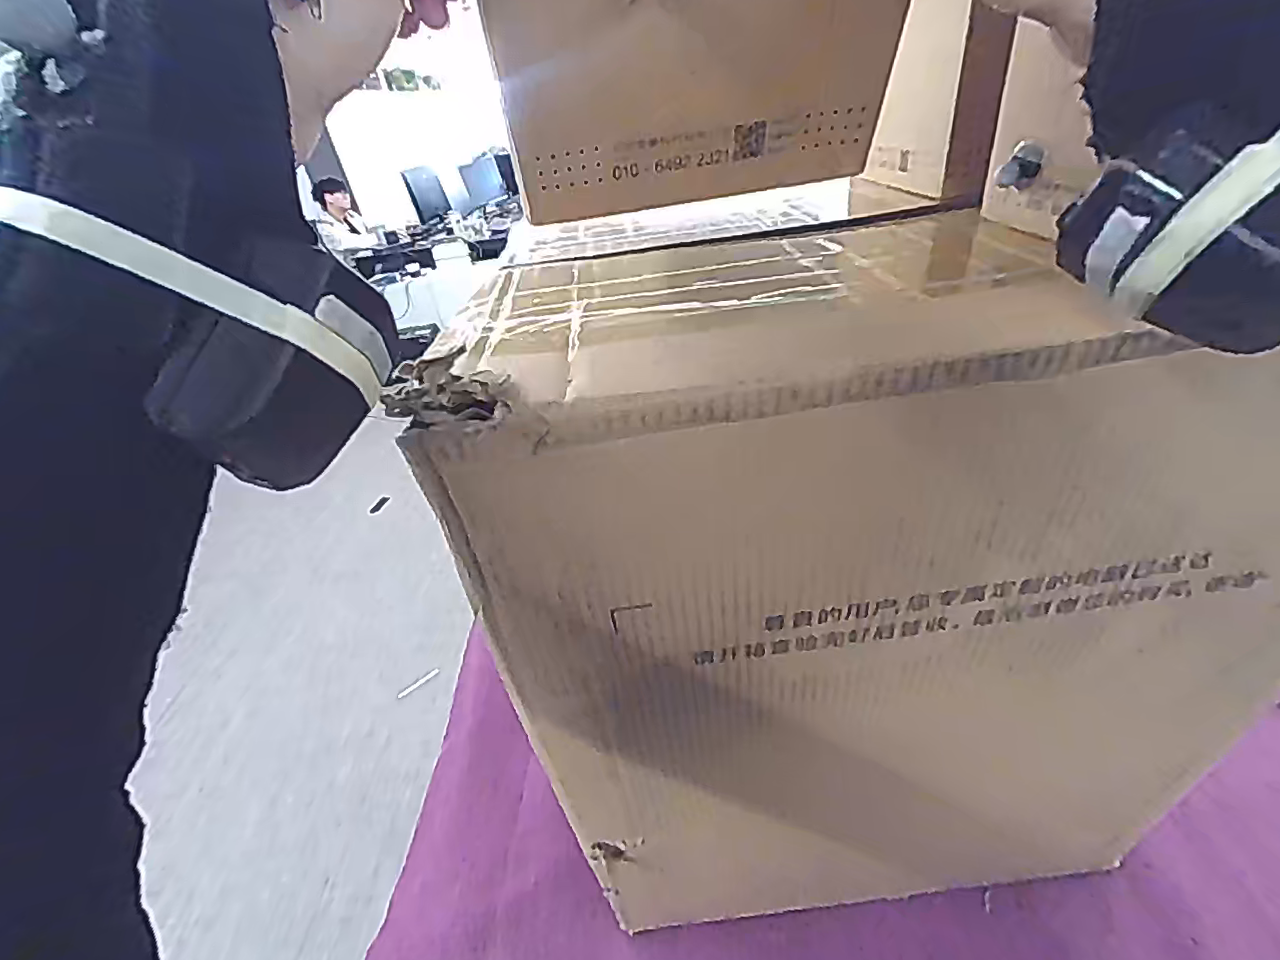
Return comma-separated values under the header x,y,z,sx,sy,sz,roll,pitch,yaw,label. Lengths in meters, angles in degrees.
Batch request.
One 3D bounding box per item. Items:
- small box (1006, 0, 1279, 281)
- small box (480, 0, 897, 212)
x,y,z,sx,sy,sz,roll,pitch,yaw,label
0.290,-0.195,0.224,0.179,0.176,0.168,-10,36,0,small box
0.010,-0.241,0.244,0.168,0.176,0.179,-12,54,-4,small box
